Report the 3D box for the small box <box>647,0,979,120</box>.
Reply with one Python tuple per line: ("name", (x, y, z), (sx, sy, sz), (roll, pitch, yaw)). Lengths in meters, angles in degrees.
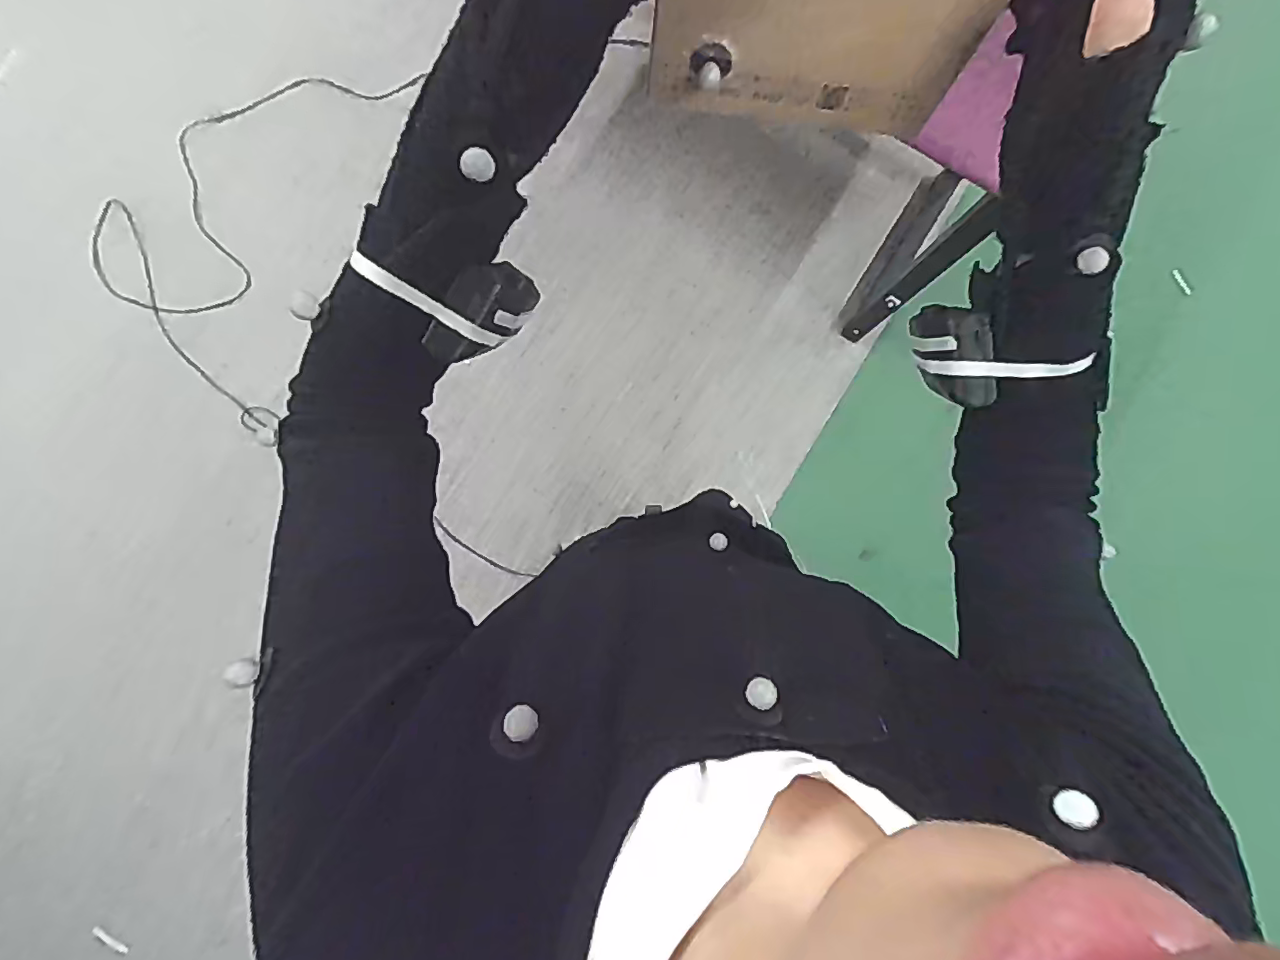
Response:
("small box", (0.095, -0.318, 0.262), (0.168, 0.176, 0.179), (5, 77, -3))
